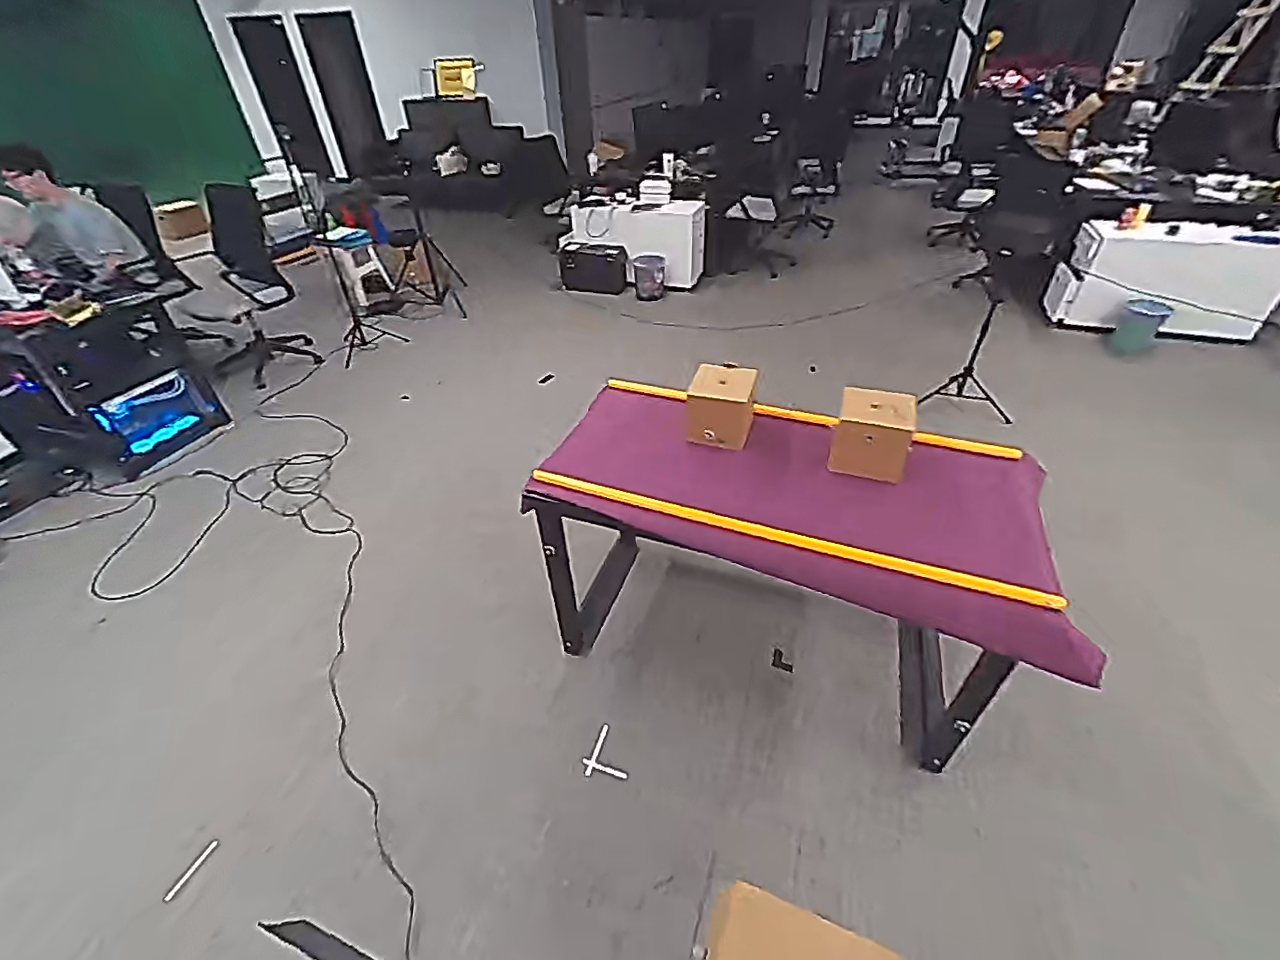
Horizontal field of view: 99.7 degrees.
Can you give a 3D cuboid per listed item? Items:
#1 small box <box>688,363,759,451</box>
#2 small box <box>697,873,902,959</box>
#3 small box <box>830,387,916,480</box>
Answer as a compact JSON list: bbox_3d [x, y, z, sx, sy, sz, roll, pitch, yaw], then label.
[{"bbox_3d":[0.234,-0.209,1.538,0.168,0.176,0.179,10,42,16],"label":"small box"},{"bbox_3d":[0.153,0.551,0.578,0.179,0.176,0.168,16,54,13],"label":"small box"},{"bbox_3d":[0.604,-0.119,1.408,0.179,0.176,0.168,12,43,18],"label":"small box"}]
